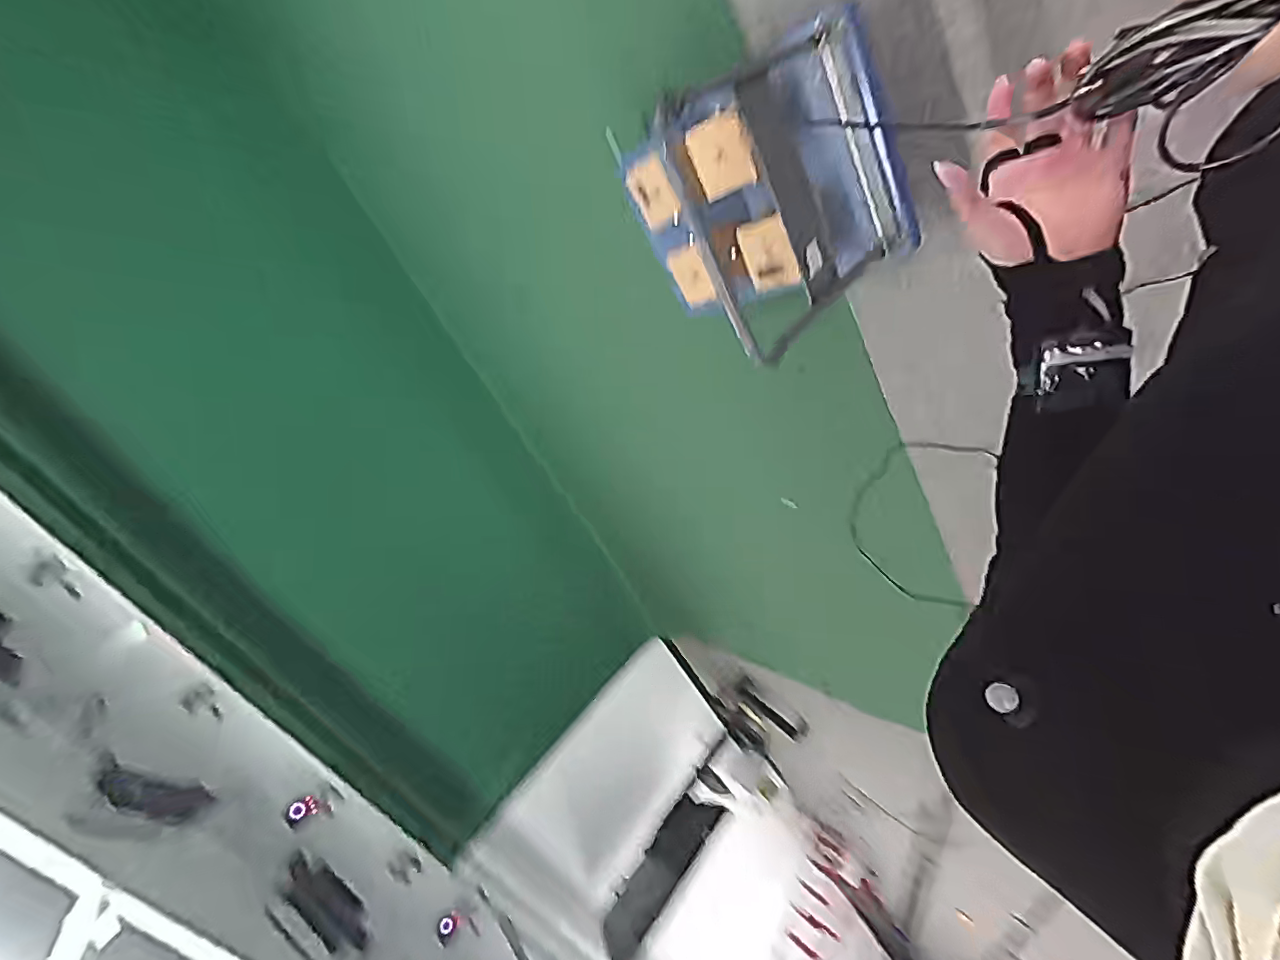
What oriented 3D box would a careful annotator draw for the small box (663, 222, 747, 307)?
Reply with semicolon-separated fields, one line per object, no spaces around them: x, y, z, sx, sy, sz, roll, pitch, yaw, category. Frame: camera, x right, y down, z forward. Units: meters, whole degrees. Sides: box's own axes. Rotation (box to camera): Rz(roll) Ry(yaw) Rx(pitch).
0.213;-0.678;1.701;0.179;0.176;0.168;-1;127;55;small box

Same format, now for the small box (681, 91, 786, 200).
0.245;-0.864;1.402;0.179;0.176;0.168;4;132;52;small box

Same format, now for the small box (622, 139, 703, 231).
0.085;-0.879;1.605;0.179;0.176;0.168;0;129;53;small box
